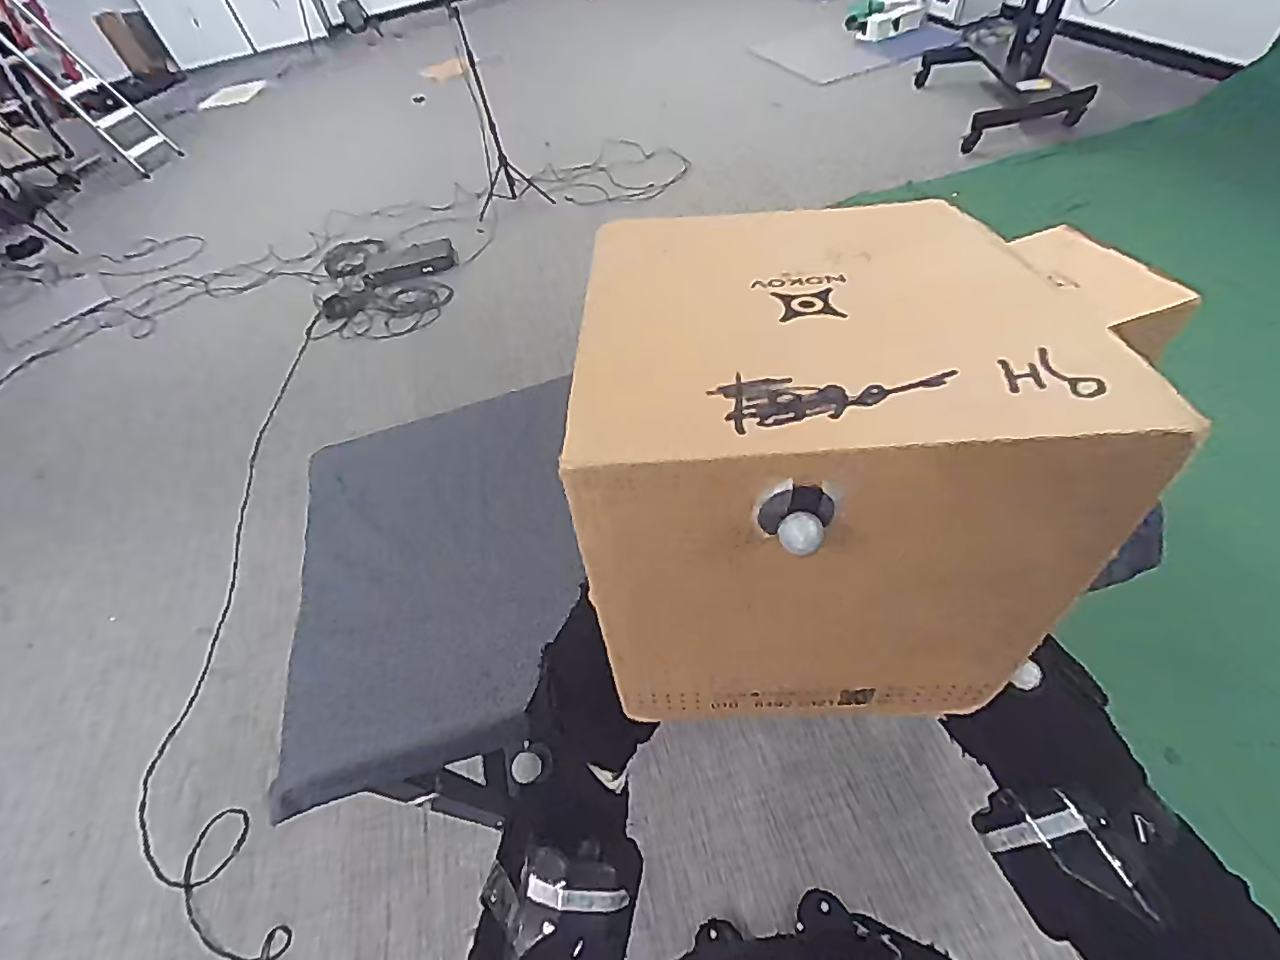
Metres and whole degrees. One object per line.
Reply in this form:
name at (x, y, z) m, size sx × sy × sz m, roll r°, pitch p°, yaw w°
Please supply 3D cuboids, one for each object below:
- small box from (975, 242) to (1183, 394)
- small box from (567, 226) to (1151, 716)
small box at (0.430, -0.137, 0.622) m, size 0.179 × 0.176 × 0.168 m, roll -20°, pitch 49°, yaw -4°
small box at (0.067, -0.006, 0.268) m, size 0.168 × 0.176 × 0.179 m, roll -3°, pitch 43°, yaw 4°
